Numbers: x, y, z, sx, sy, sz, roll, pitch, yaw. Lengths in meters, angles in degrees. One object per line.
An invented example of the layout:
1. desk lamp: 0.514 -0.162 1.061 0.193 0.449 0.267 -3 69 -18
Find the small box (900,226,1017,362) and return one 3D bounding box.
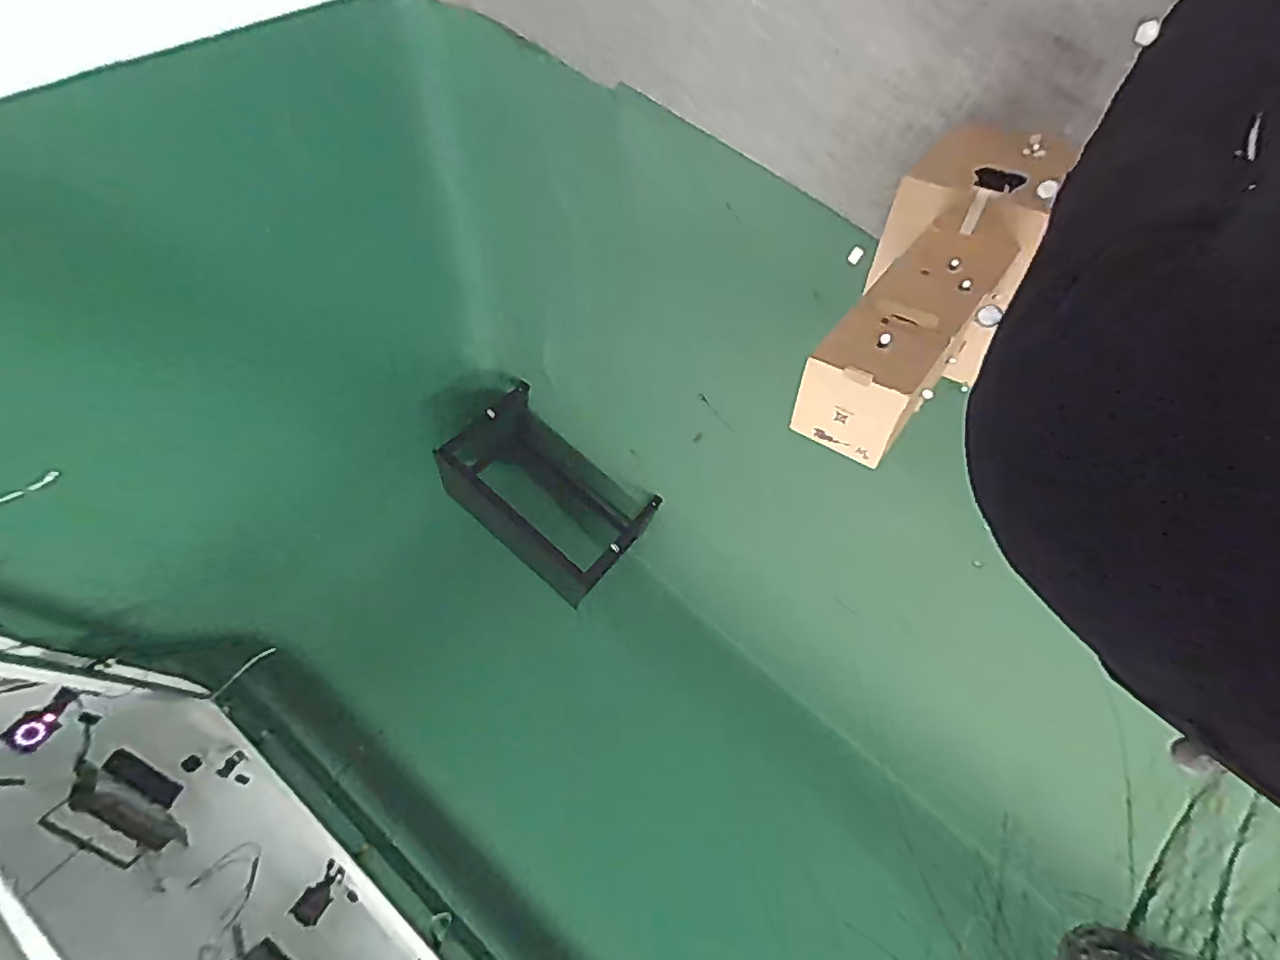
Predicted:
1. small box: 0.595 -0.370 1.063 0.179 0.176 0.168 32 151 23

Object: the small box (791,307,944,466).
1. small box: 0.384 -0.164 0.919 0.168 0.176 0.179 32 150 24

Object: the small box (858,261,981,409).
1. small box: 0.490 -0.269 0.989 0.168 0.176 0.179 31 151 24

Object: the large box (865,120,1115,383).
1. large box: 0.740 -0.508 1.209 0.320 0.320 0.408 33 153 25
